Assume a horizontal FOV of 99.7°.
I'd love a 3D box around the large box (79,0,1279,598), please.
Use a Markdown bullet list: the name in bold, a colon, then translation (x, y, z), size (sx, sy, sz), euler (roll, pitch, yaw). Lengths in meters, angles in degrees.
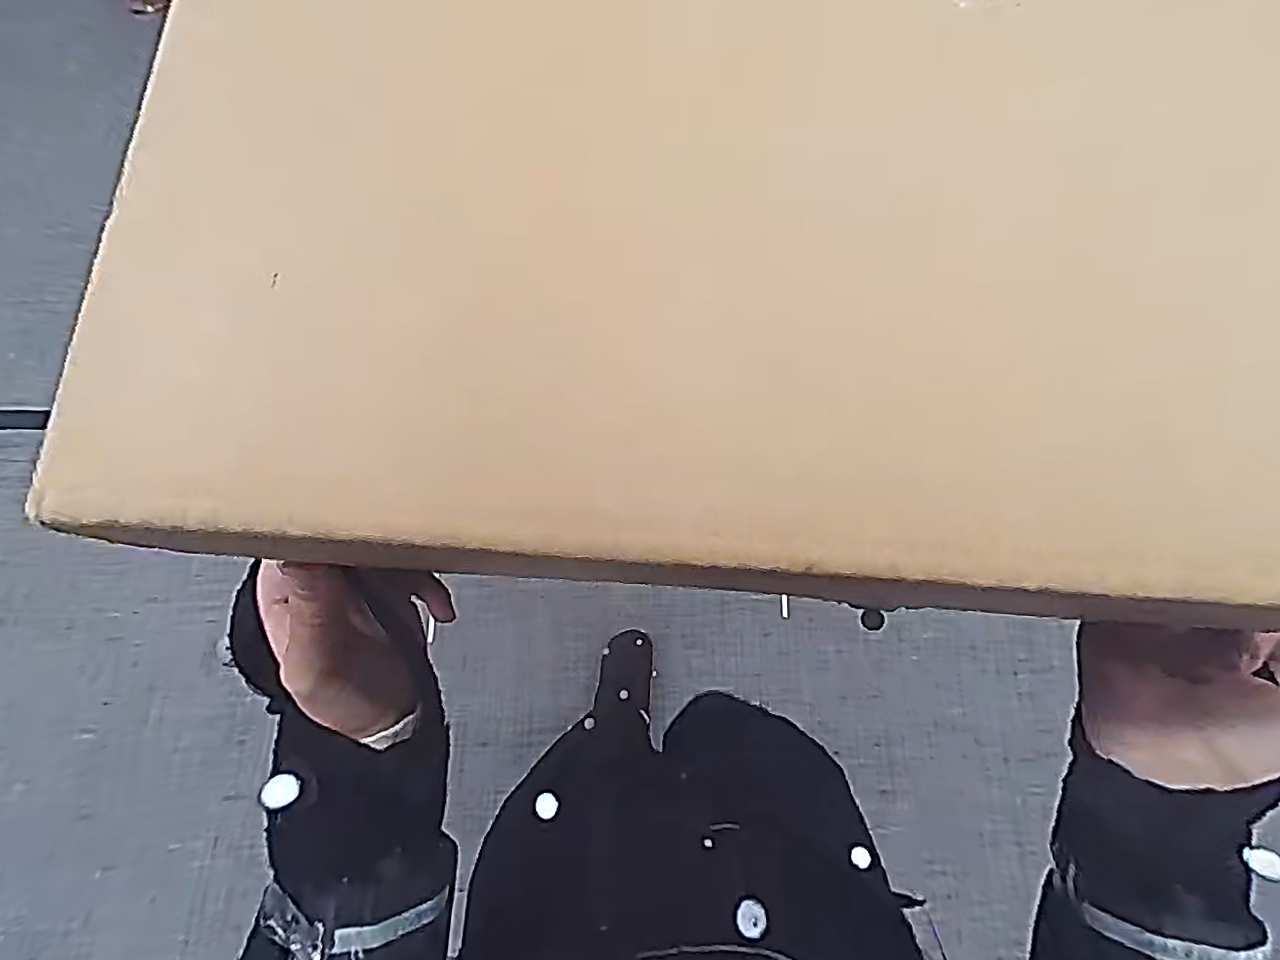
- **large box**: translation (0.078, -0.111, 0.291), size (0.408, 0.320, 0.320), euler (4, 80, -3)
